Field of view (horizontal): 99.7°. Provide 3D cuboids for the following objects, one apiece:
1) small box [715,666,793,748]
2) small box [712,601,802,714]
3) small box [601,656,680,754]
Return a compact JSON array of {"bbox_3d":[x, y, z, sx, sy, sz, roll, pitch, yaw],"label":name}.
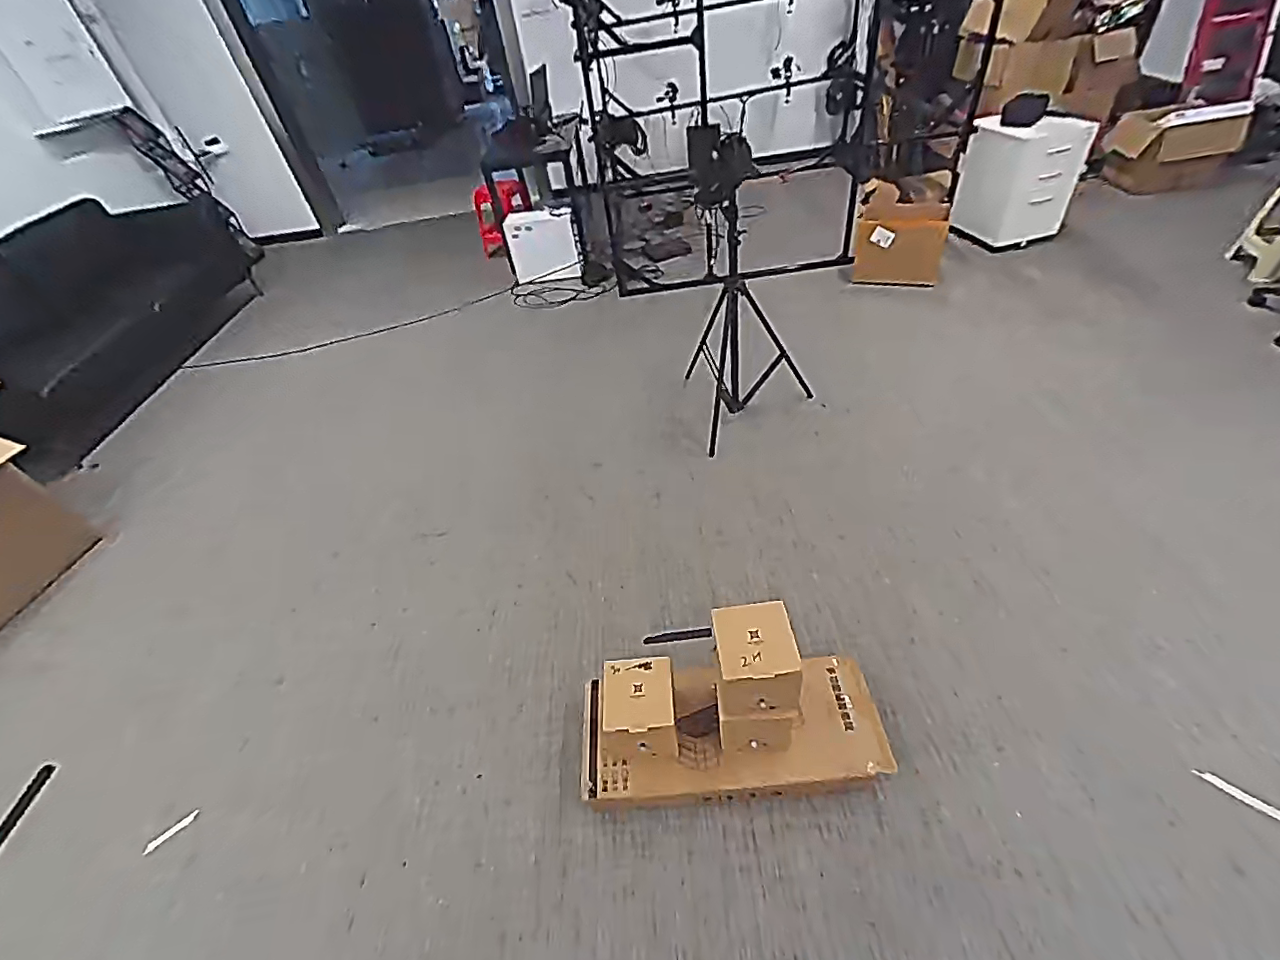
[{"bbox_3d":[0.271,0.528,1.314,0.168,0.176,0.179,-5,44,6],"label":"small box"},{"bbox_3d":[0.254,0.397,1.213,0.168,0.176,0.179,-8,42,3],"label":"small box"},{"bbox_3d":[0.004,0.558,1.329,0.168,0.176,0.179,-7,44,5],"label":"small box"}]
